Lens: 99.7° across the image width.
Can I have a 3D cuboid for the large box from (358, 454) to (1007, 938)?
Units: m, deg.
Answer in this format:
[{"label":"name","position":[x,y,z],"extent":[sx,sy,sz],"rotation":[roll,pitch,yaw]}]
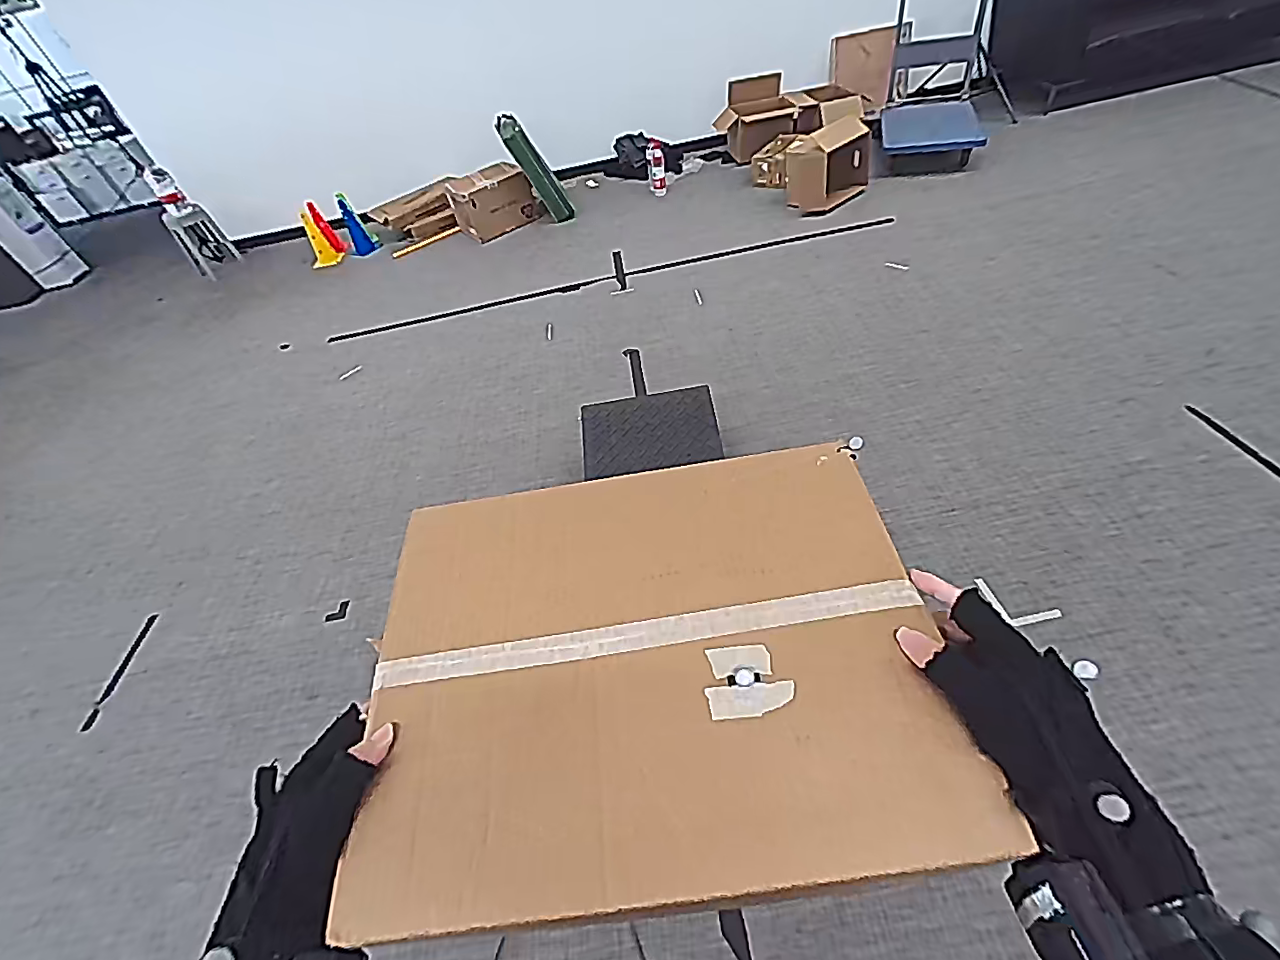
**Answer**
[{"label":"large box","position":[0.024,0.217,0.529],"extent":[0.408,0.320,0.320],"rotation":[-9,51,2]}]
